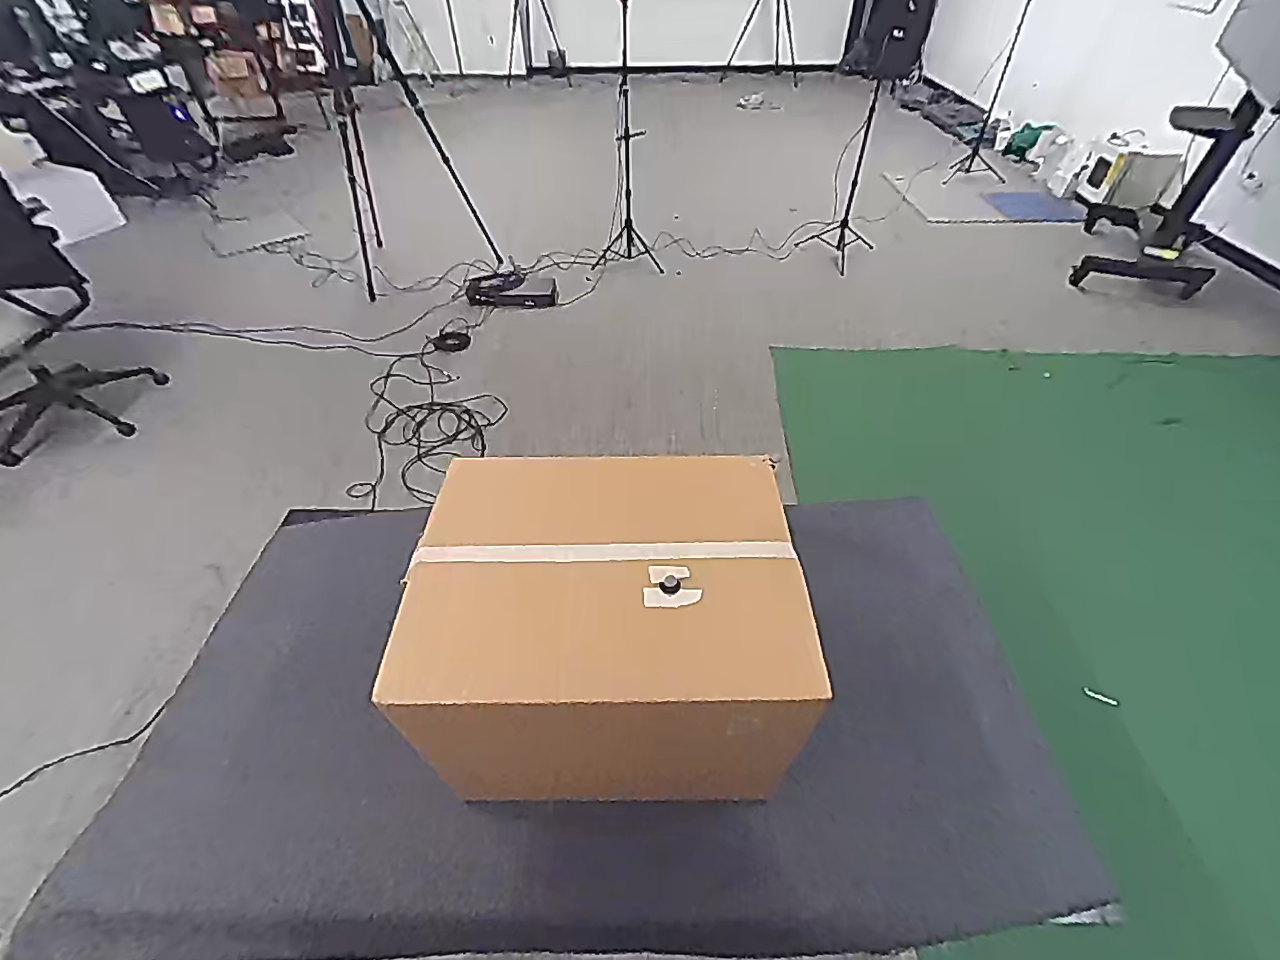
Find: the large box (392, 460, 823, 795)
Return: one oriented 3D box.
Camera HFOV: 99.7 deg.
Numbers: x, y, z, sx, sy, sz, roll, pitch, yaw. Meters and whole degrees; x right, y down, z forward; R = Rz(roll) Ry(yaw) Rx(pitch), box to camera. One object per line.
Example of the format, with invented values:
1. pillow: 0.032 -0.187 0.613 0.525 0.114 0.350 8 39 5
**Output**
1. large box: -0.034 0.190 0.700 0.408 0.320 0.320 0 46 -1
